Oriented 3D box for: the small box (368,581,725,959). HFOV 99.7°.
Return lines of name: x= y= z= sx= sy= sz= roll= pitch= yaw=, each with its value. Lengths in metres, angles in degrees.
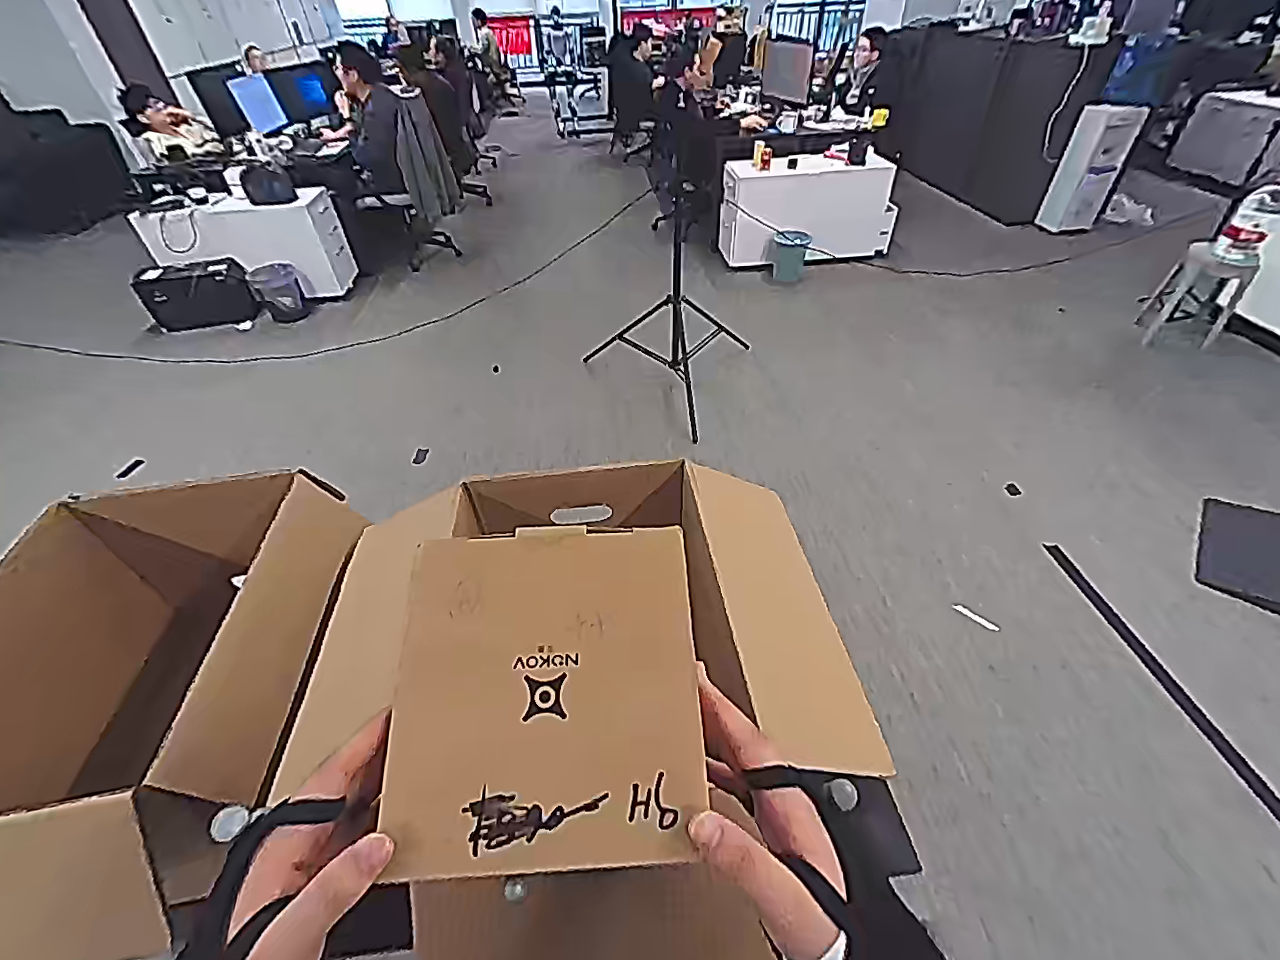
small box: x=-0.046 y=0.178 z=0.355 sx=0.168 sy=0.176 sz=0.179 roll=-3 pitch=62 yaw=-1
